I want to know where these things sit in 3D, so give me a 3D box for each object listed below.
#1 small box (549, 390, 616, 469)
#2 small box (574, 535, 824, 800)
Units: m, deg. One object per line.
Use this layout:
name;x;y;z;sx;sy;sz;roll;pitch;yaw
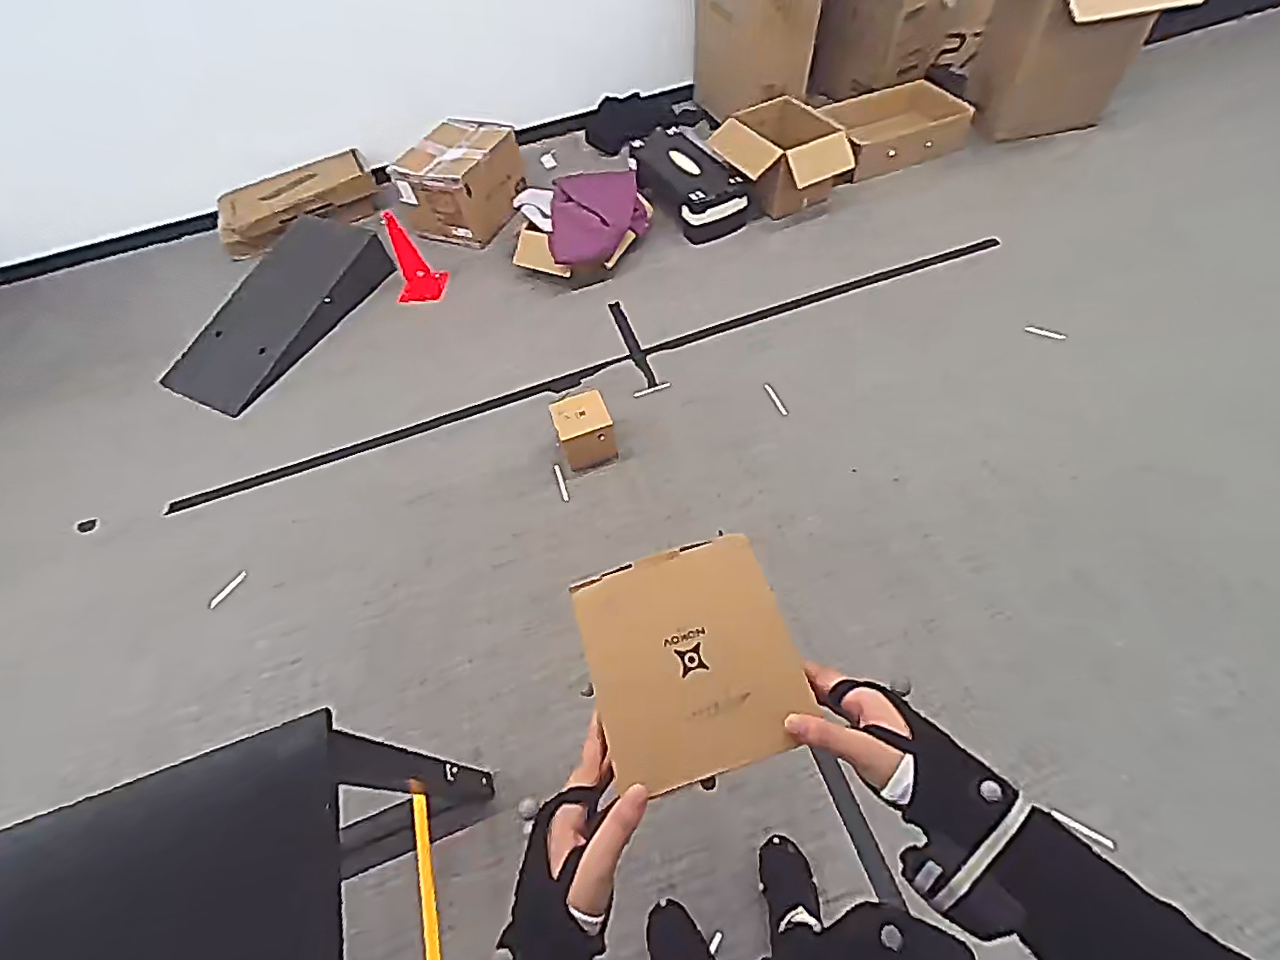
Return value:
small box;-0.185;-0.165;1.801;0.179;0.176;0.168;-20;57;-6
small box;0.045;0.178;0.515;0.168;0.176;0.179;-16;66;-4
